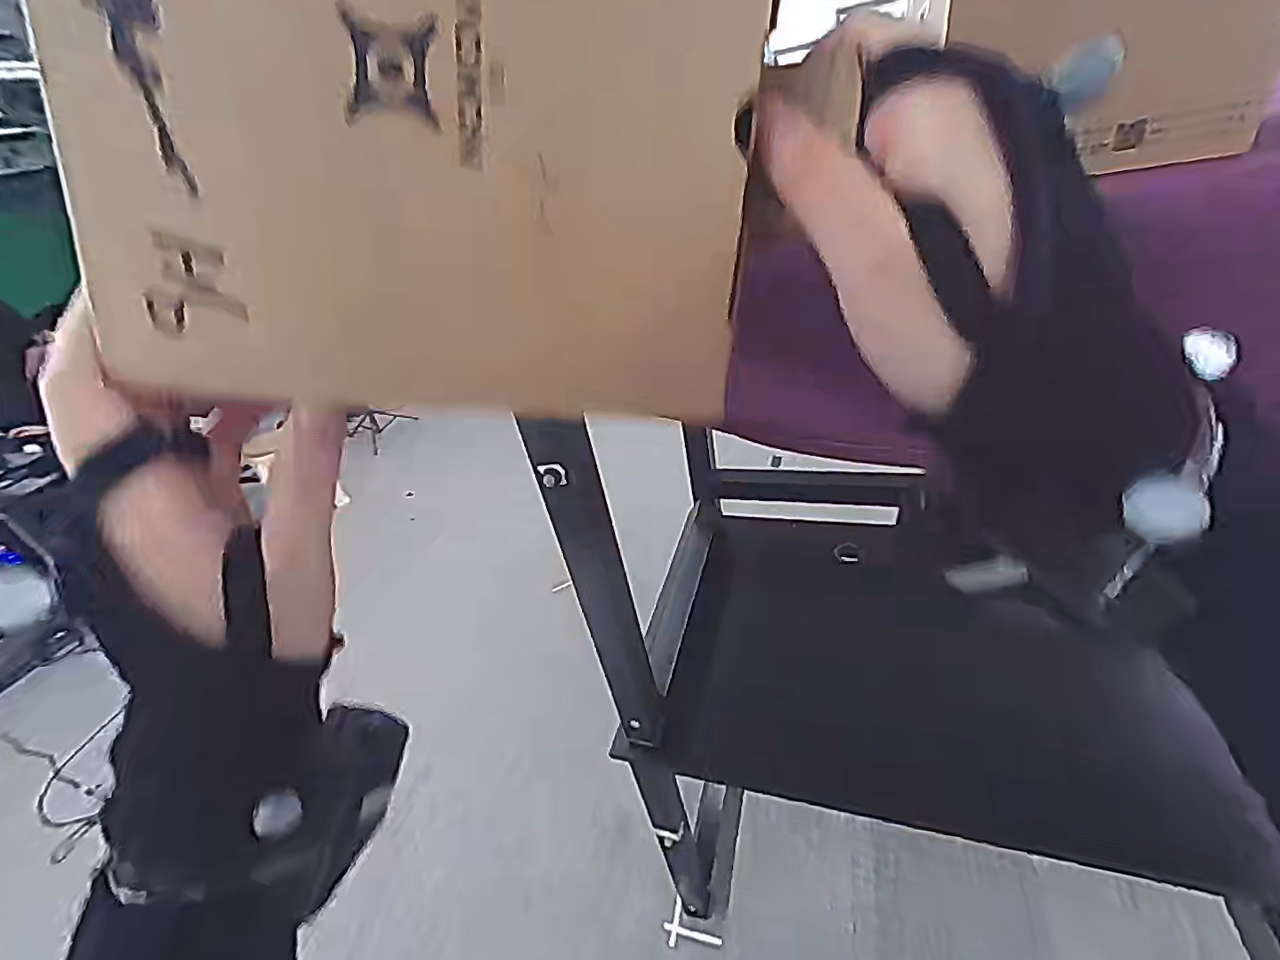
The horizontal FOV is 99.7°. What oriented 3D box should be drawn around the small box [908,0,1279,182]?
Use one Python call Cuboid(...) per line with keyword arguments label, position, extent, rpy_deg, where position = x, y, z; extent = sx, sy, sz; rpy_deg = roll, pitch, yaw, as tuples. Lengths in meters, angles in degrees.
Cuboid(label="small box", position=(0.275, -0.301, 0.344), extent=(0.168, 0.176, 0.179), rpy_deg=(0, 35, 18))
